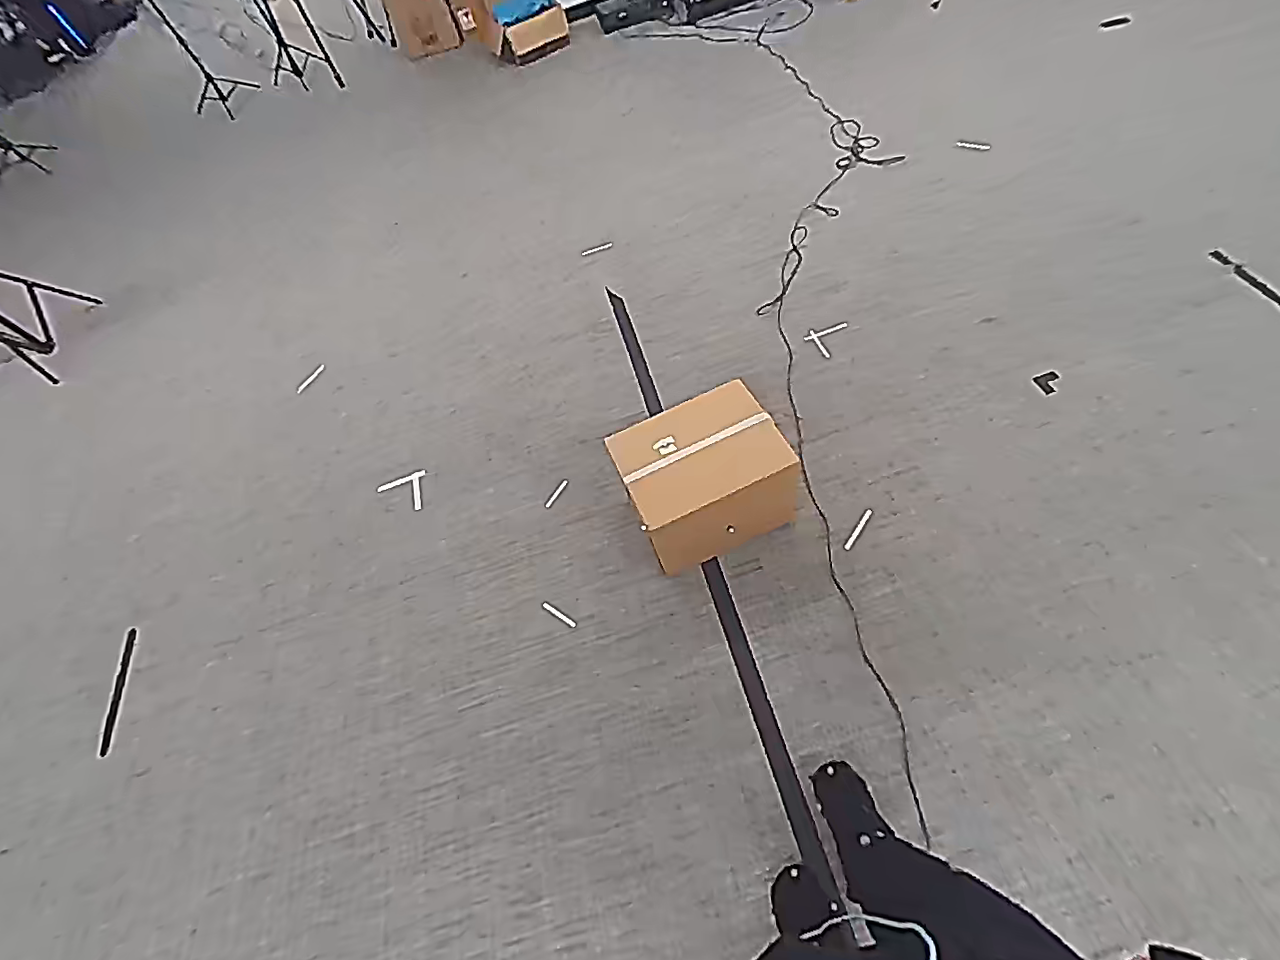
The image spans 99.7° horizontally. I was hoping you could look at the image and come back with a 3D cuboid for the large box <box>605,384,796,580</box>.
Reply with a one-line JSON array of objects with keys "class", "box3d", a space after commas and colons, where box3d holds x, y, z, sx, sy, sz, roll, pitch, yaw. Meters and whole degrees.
[{"class": "large box", "box3d": [0.171, 0.014, 1.483, 0.408, 0.320, 0.320, -26, 55, -2]}]
